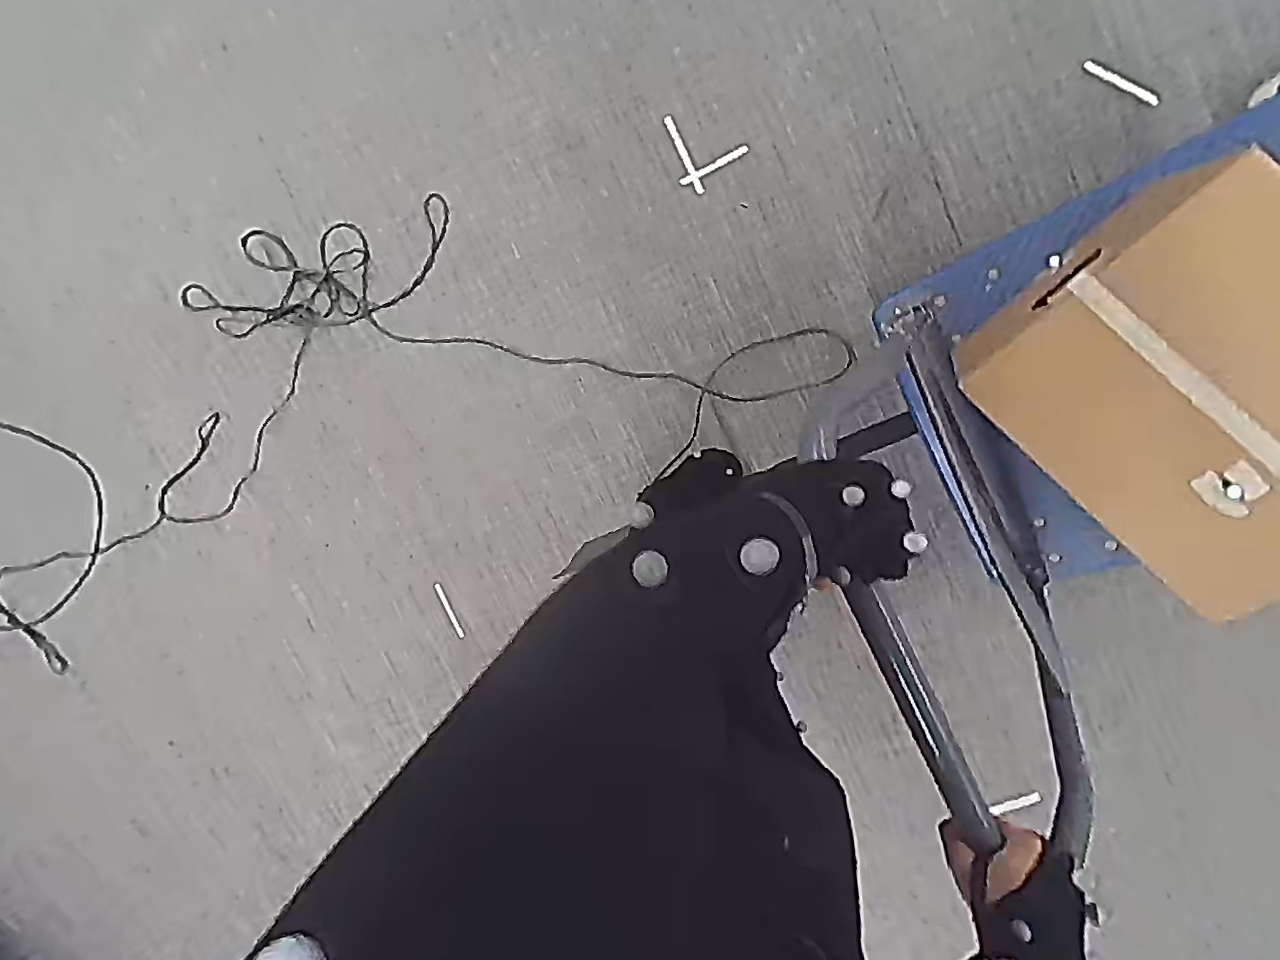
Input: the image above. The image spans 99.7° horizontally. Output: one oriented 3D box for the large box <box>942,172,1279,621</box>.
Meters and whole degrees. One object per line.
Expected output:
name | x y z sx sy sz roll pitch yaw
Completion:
large box | 0.675 -0.112 0.702 0.408 0.320 0.320 45 123 4
